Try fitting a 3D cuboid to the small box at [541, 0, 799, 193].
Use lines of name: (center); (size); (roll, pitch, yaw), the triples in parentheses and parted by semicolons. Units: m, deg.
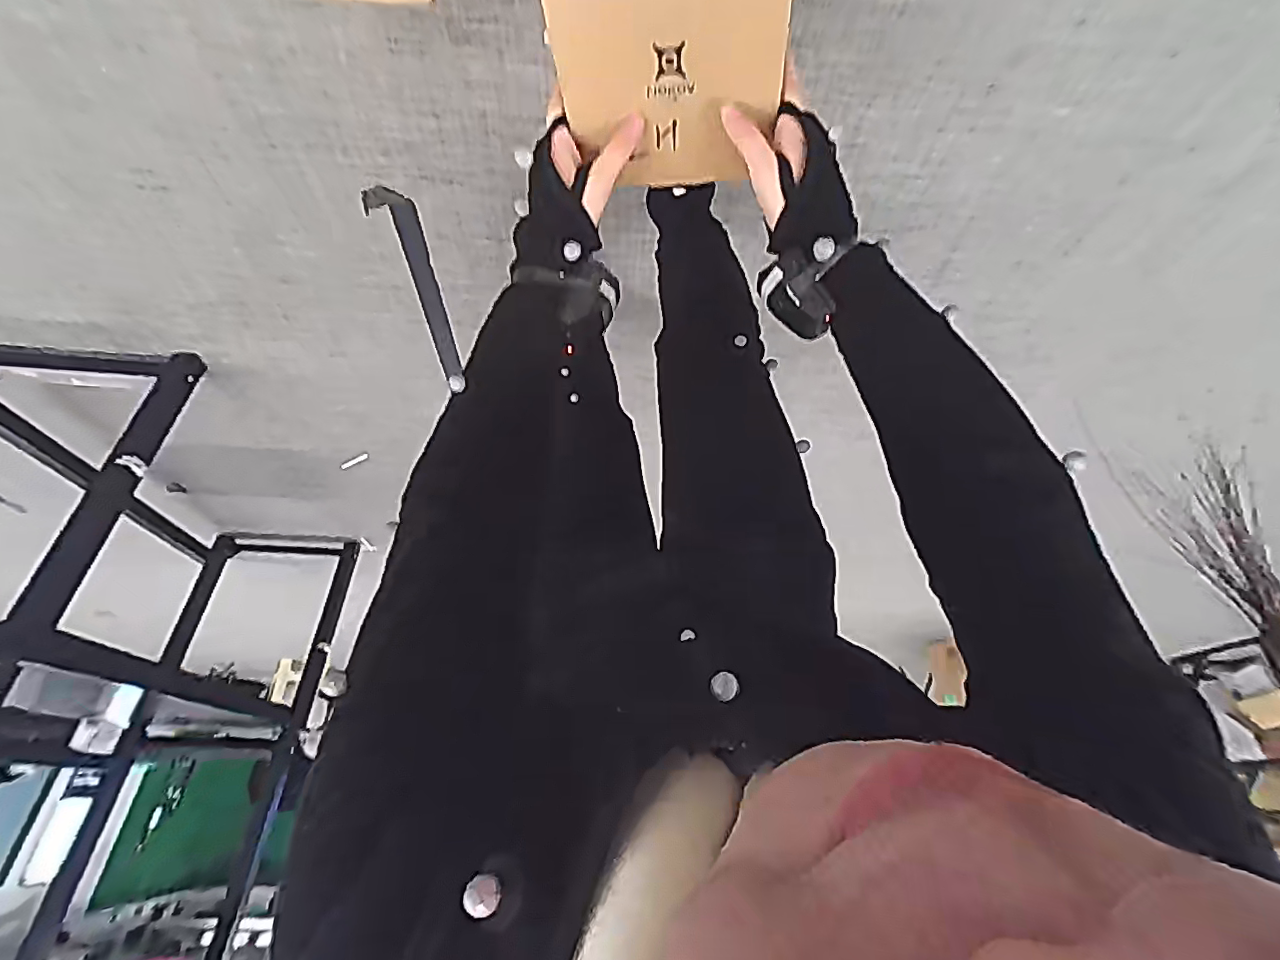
small box: (0.027, -0.354, 0.411); (0.168, 0.176, 0.179); (2, 154, 7)
